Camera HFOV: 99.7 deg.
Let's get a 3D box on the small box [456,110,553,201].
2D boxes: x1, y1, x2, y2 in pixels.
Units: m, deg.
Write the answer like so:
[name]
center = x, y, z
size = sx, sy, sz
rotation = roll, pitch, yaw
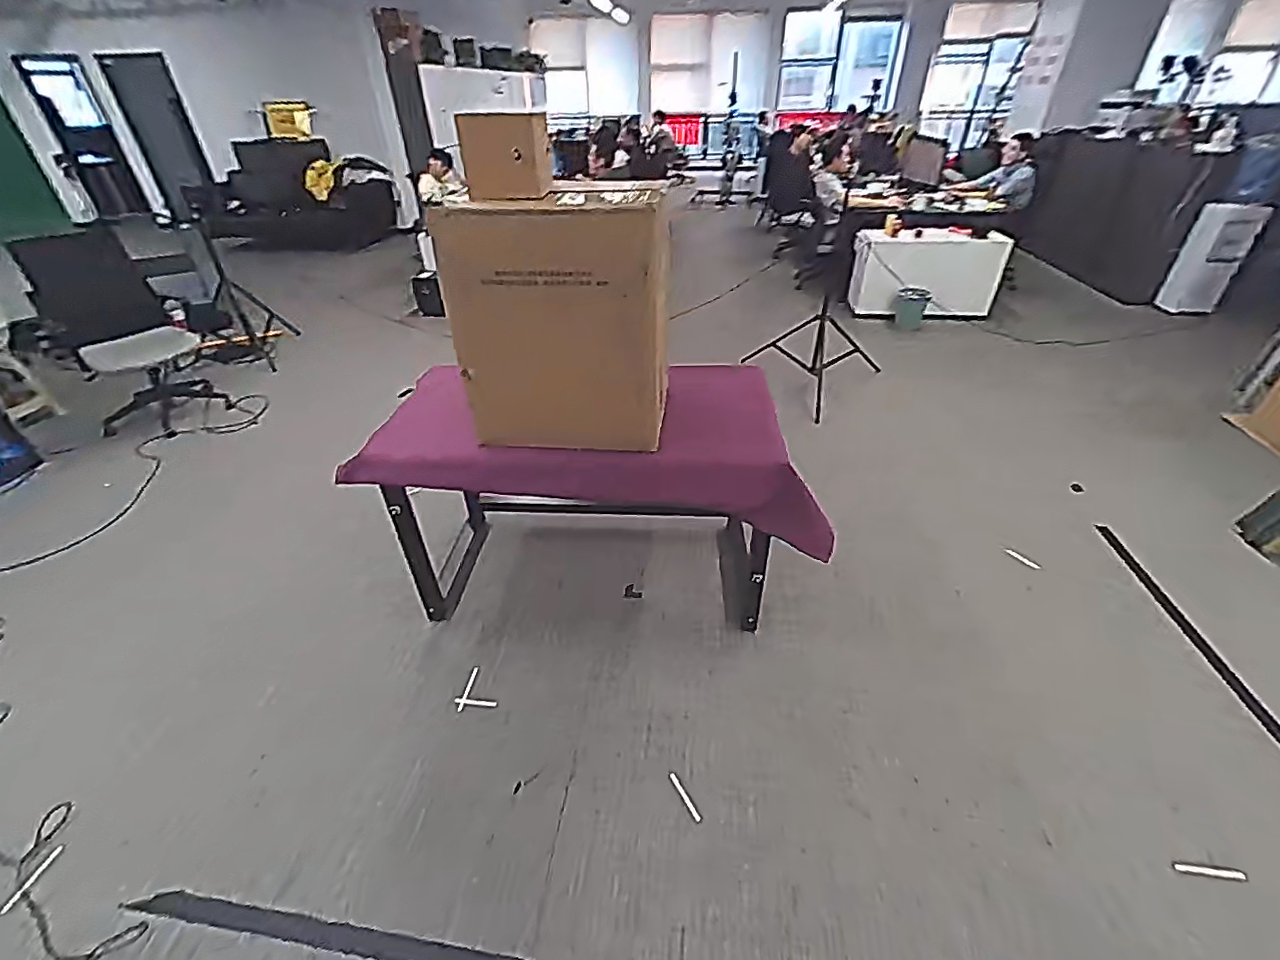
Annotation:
[small box]
center = -0.307, -0.763, 1.270
size = 0.179, 0.176, 0.168
rotation = 0, 35, 3
